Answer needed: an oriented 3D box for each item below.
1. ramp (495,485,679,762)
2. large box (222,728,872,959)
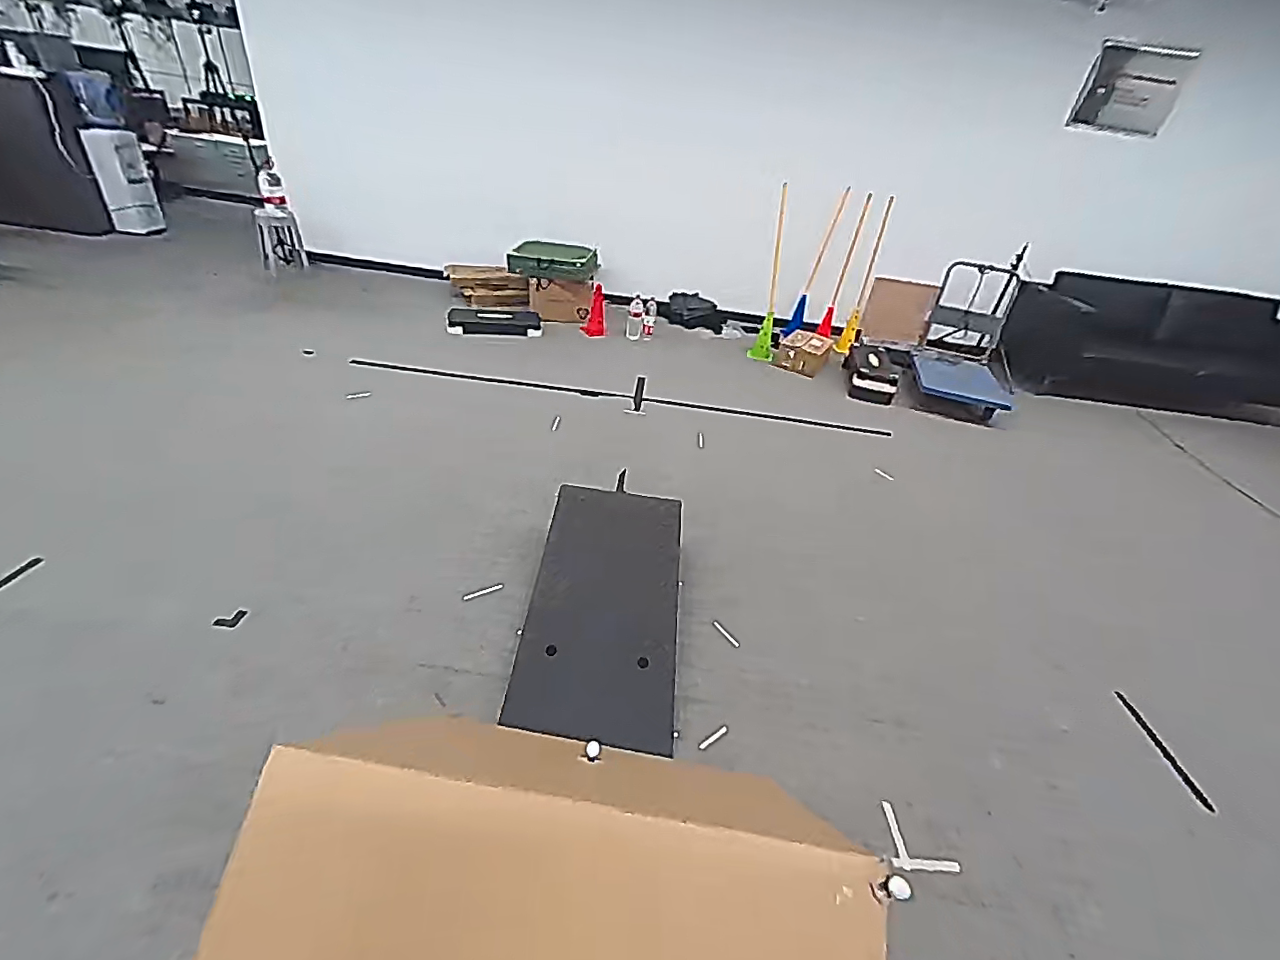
[{"bbox_3d":[-0.120,0.406,1.824,0.509,0.206,0.991,8,35,-3],"label":"ramp"},{"bbox_3d":[-0.070,0.409,0.449,0.408,0.320,0.320,9,71,2],"label":"large box"}]
